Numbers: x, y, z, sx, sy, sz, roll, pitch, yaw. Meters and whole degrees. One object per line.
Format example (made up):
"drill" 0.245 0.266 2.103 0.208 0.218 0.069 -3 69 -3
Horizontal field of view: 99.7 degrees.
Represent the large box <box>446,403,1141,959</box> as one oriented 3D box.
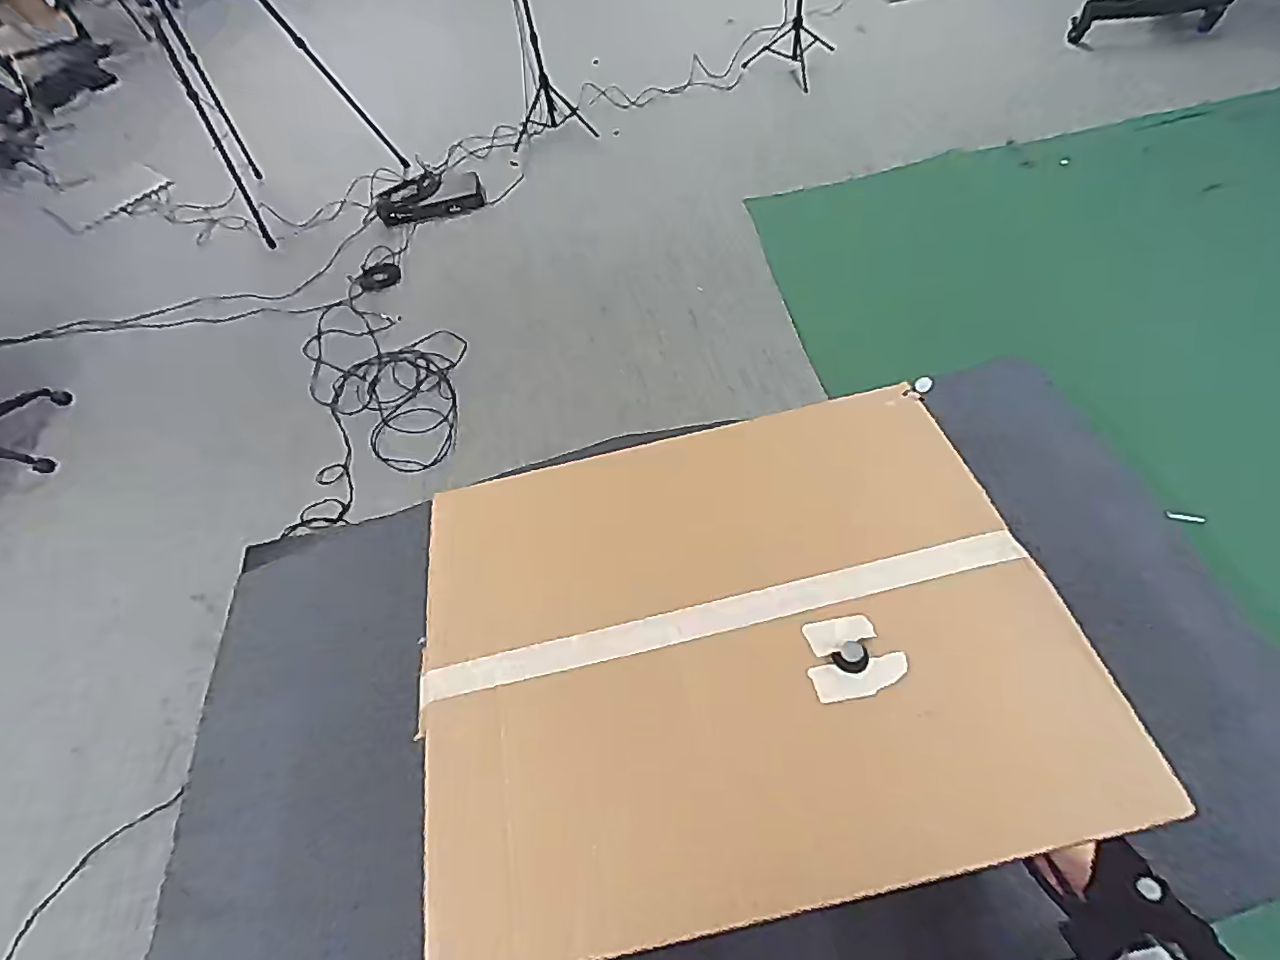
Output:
"large box" 0.075 0.183 0.501 0.408 0.320 0.320 -13 56 -1
